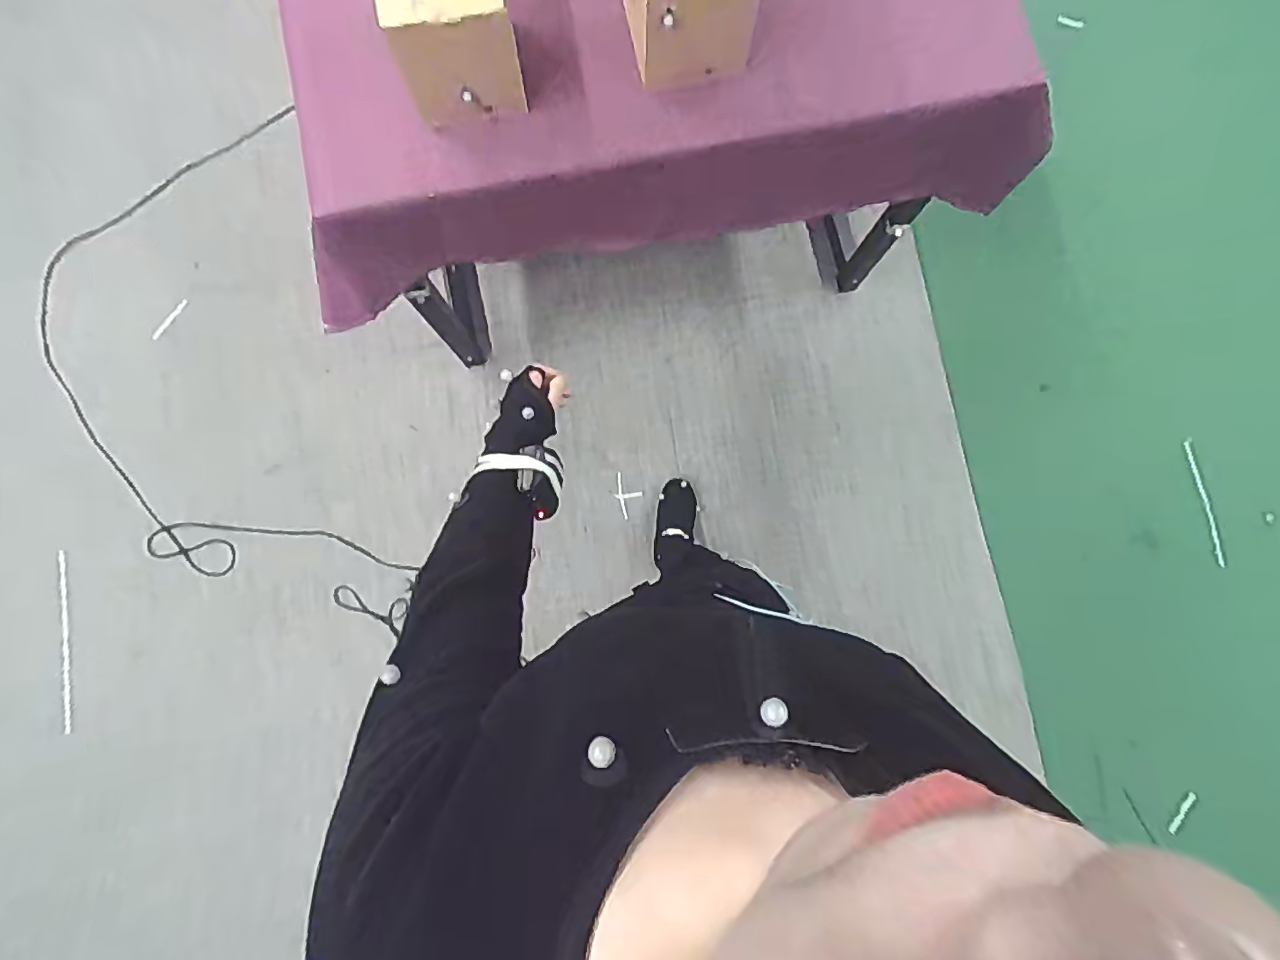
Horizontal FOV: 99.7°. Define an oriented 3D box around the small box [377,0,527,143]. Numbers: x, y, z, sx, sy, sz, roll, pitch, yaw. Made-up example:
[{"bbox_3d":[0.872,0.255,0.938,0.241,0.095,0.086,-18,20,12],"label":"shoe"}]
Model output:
[{"bbox_3d":[-0.273,-0.647,0.804,0.168,0.176,0.179,-11,81,-2],"label":"small box"}]
